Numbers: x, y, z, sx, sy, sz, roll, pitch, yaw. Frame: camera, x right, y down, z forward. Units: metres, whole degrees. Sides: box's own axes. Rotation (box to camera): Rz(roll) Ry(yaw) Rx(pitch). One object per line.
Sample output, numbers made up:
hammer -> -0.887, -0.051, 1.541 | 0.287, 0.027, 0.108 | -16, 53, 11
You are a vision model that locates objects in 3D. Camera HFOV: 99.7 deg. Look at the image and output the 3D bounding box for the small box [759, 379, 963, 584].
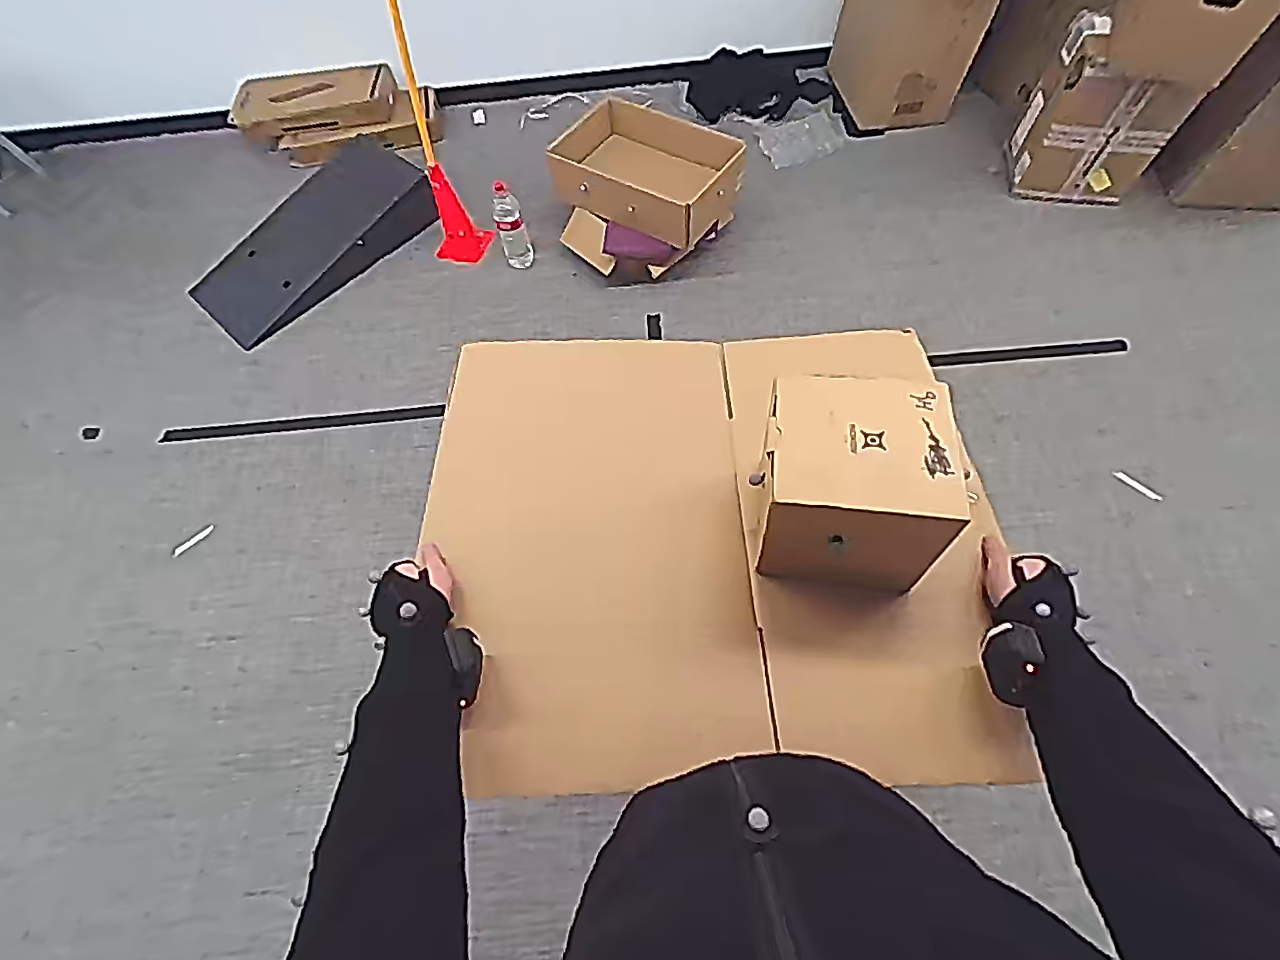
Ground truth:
small box -> 0.229, 0.006, 0.608 | 0.179, 0.176, 0.168 | 4, 59, 10
